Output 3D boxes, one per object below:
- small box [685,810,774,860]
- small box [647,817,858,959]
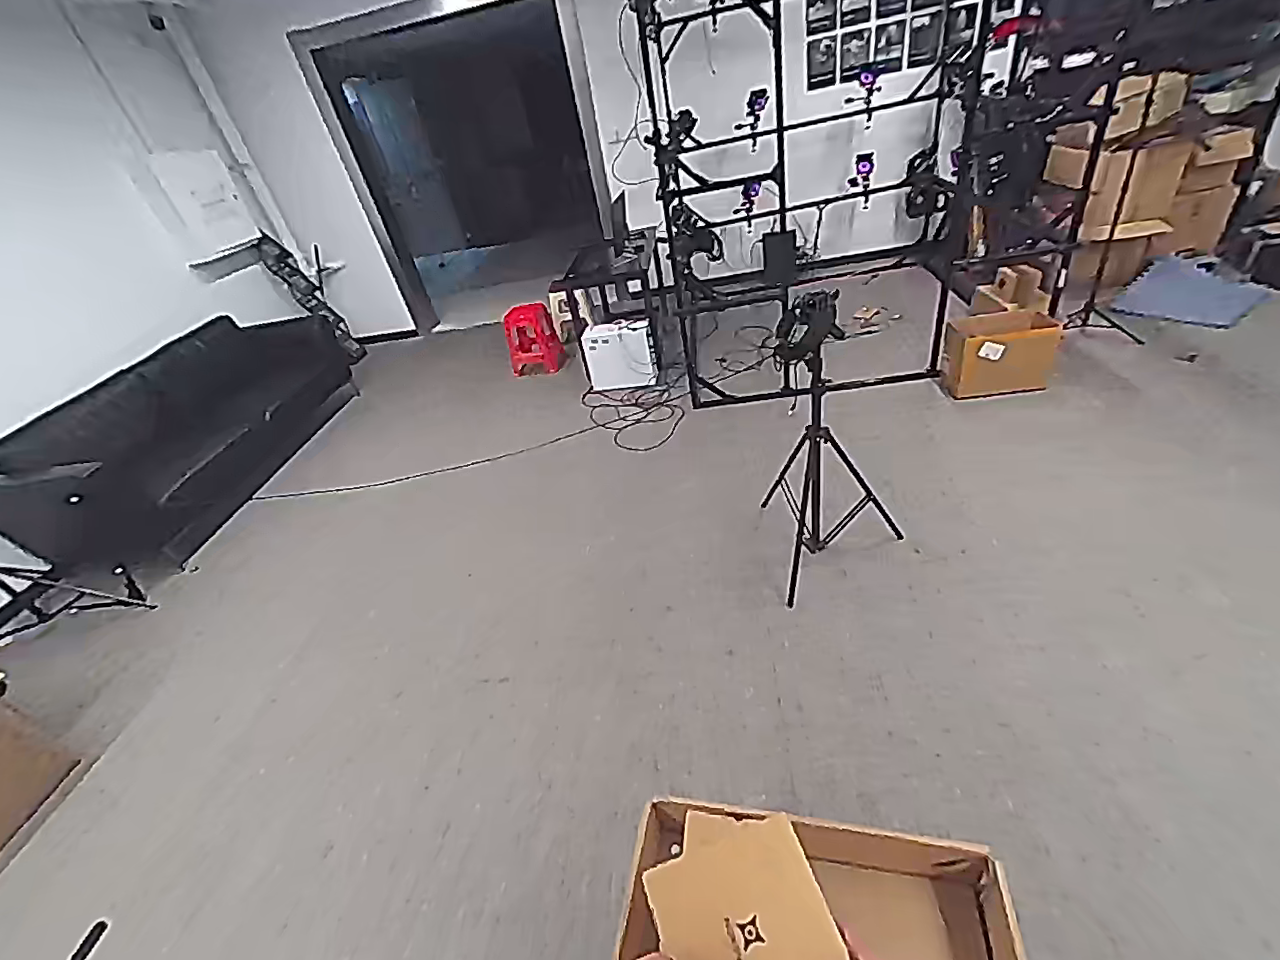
[{"bbox_3d":[0.154,0.643,0.823,0.168,0.176,0.179,-1,36,14],"label":"small box"},{"bbox_3d":[0.130,0.500,0.599,0.179,0.176,0.168,-25,51,-1],"label":"small box"}]
